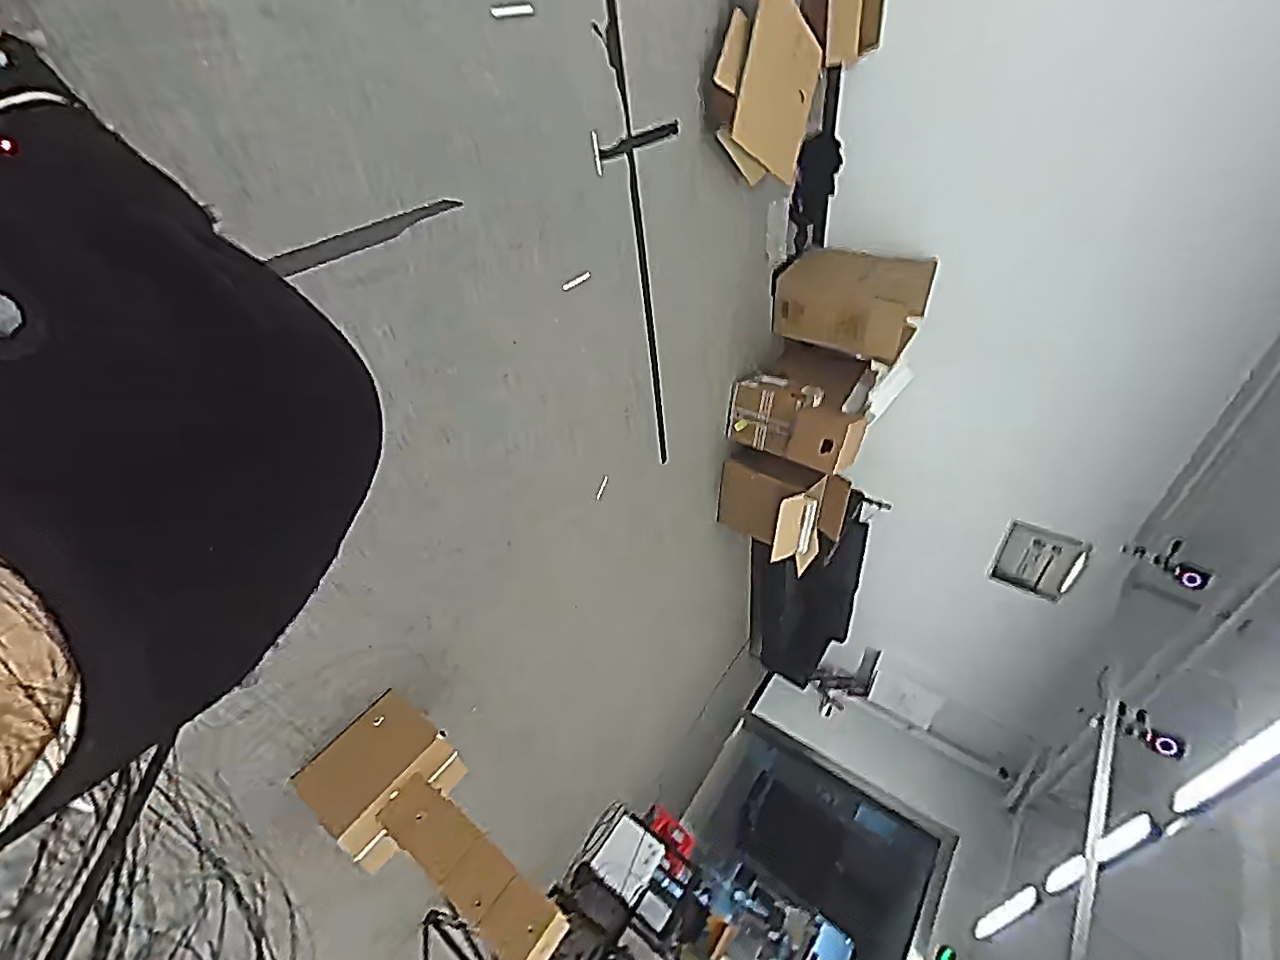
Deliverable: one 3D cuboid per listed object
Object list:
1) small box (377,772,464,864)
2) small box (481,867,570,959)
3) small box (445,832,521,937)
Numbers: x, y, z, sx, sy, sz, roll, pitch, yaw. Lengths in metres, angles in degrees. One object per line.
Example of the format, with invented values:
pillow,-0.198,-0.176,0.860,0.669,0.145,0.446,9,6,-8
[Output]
small box,-0.726,1.111,1.790,0.179,0.176,0.168,-44,141,-33
small box,-0.332,1.268,1.543,0.179,0.176,0.168,-42,140,-37
small box,-0.461,1.216,1.625,0.179,0.176,0.168,-42,141,-37
